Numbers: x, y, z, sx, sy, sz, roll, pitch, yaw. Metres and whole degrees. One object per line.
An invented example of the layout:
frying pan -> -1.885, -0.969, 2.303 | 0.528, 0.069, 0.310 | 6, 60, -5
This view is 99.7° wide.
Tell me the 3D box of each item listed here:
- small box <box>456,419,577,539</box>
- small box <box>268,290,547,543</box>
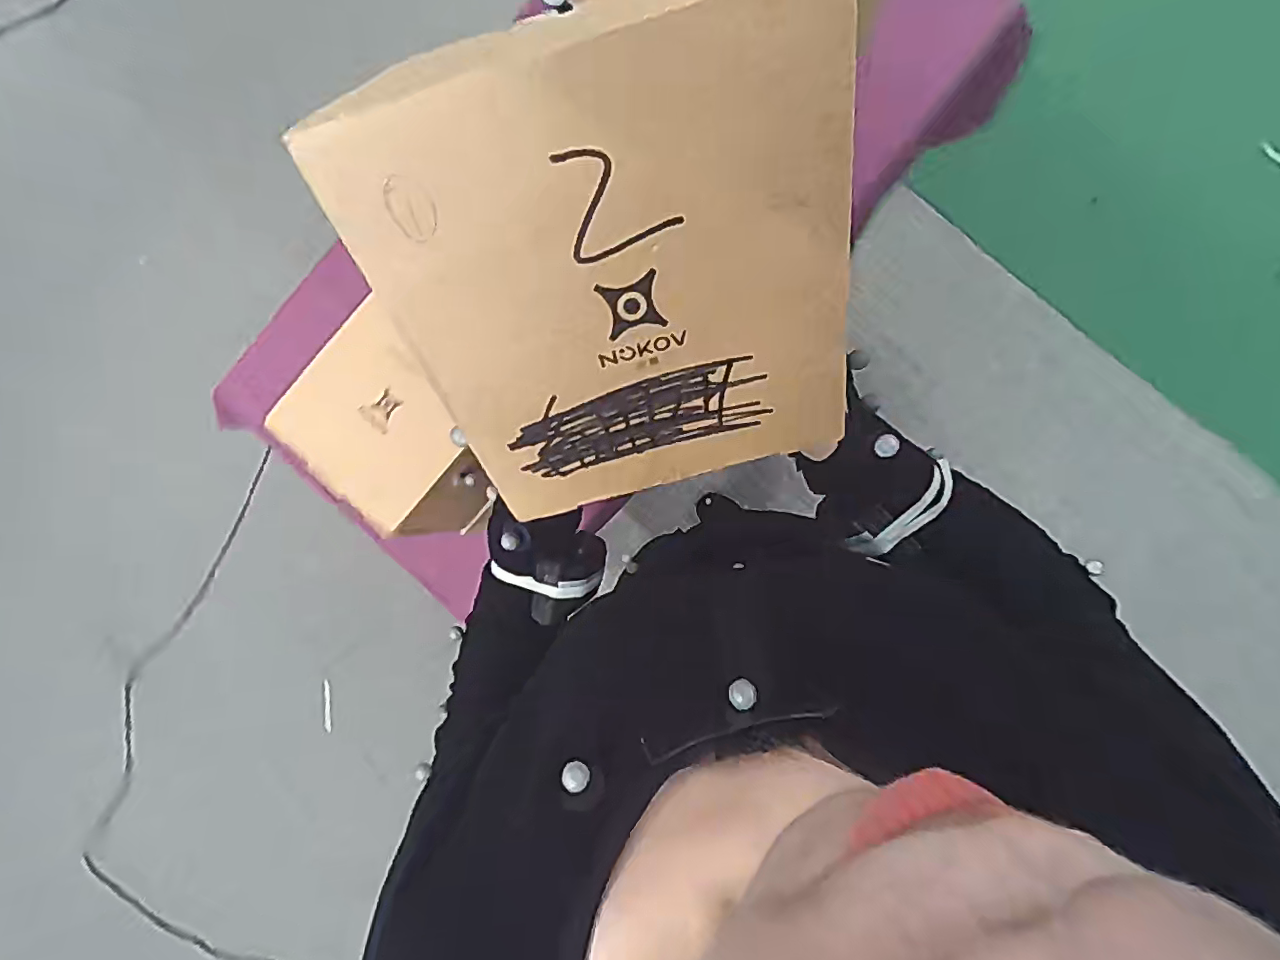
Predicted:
small box -> -0.209, -0.042, 0.732 | 0.179, 0.176, 0.168 | 42, 92, 7
small box -> -0.224, -0.055, 0.570 | 0.168, 0.176, 0.179 | 41, 91, 5
